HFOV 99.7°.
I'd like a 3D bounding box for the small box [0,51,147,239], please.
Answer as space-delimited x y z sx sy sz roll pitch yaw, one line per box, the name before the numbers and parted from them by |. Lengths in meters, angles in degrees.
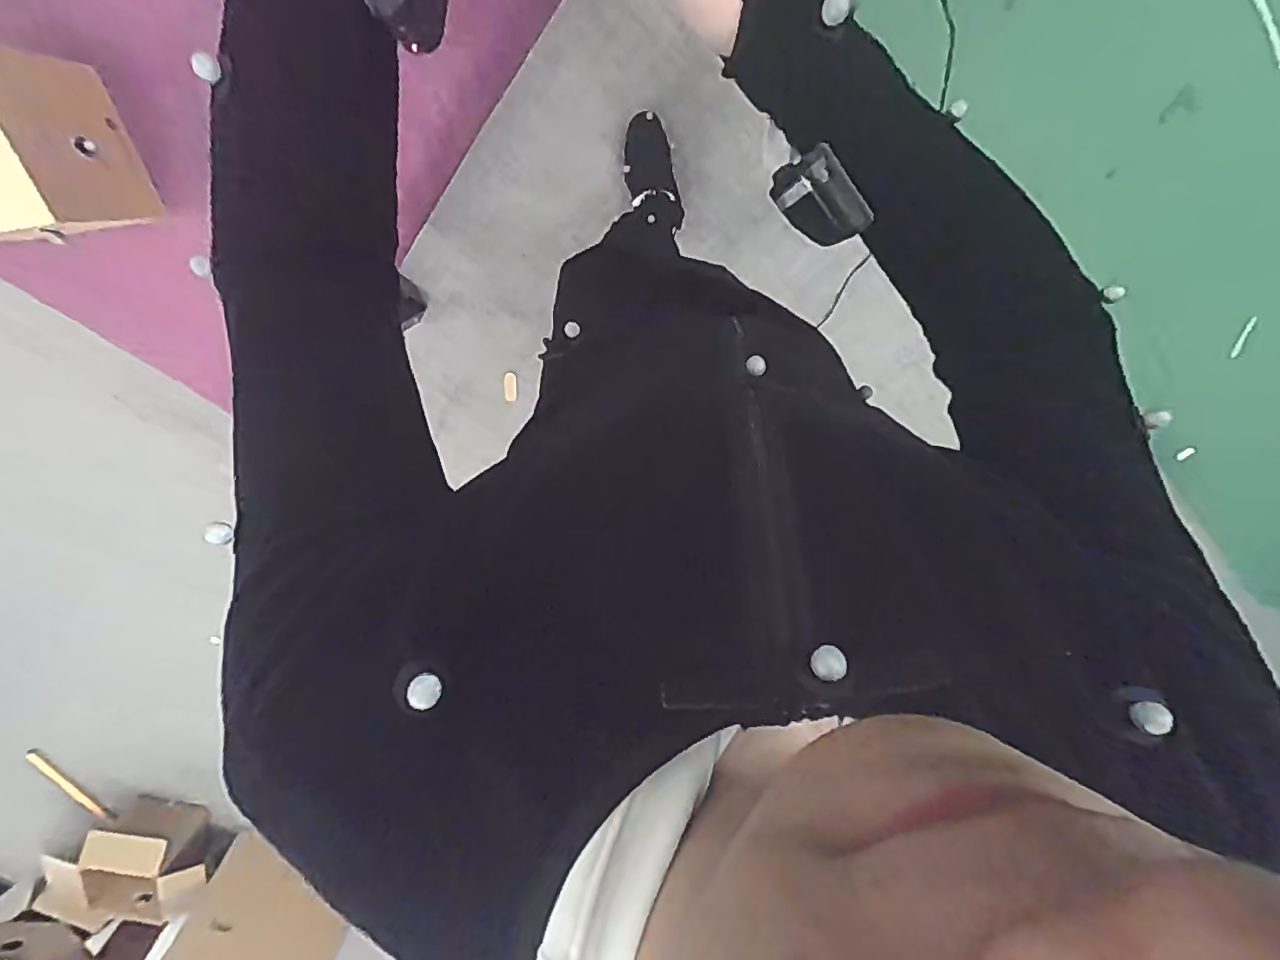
small box | -0.720 -0.369 0.607 0.179 0.176 0.168 -7 118 2
